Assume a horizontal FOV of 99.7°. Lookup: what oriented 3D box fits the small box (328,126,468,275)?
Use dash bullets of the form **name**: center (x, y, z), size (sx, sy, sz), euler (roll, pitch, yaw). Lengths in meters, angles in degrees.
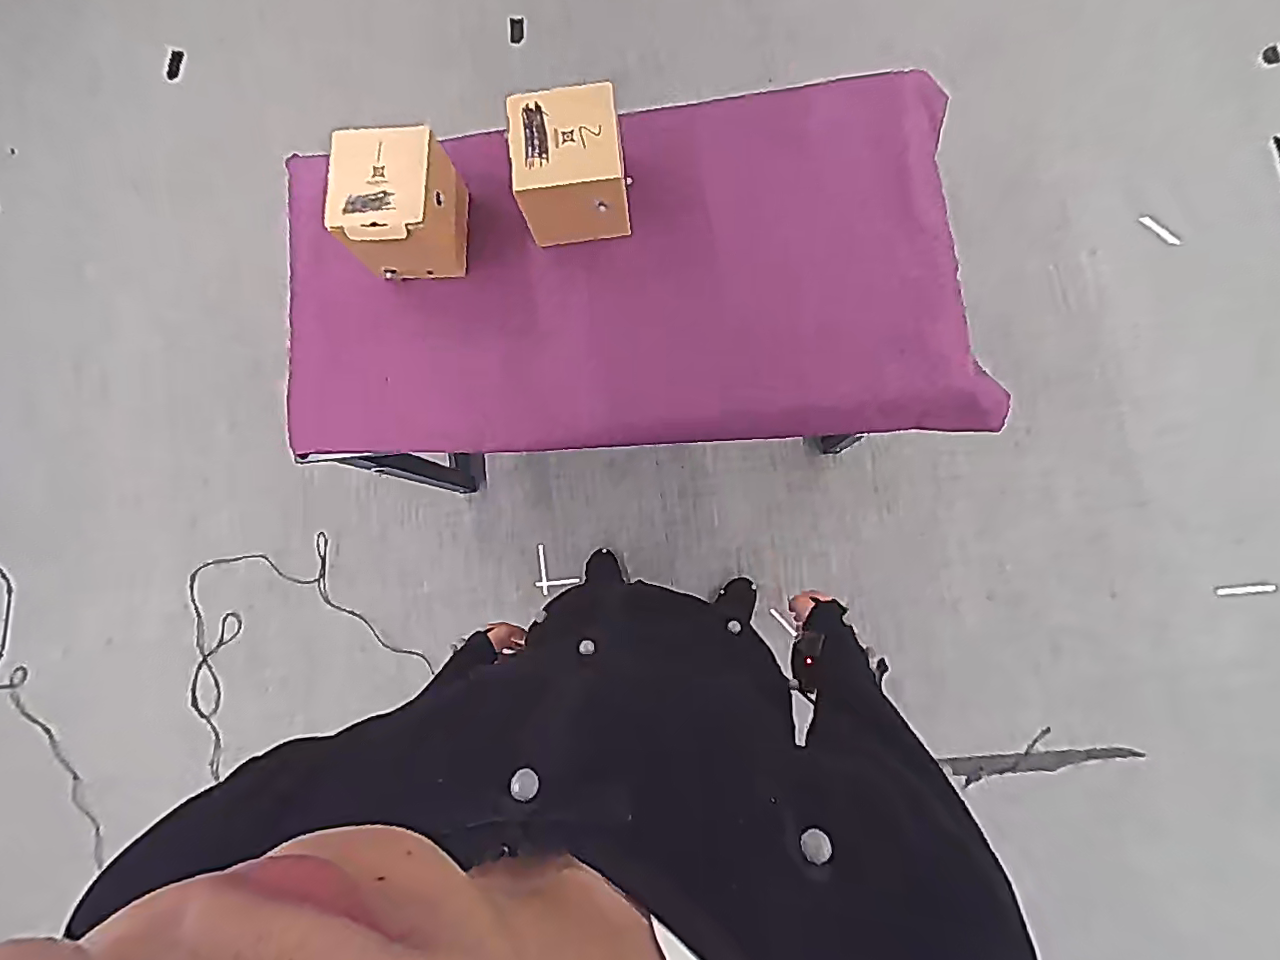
- **small box**: center (-0.411, -0.475, 0.944), size (0.168, 0.176, 0.179), euler (0, 83, 3)
